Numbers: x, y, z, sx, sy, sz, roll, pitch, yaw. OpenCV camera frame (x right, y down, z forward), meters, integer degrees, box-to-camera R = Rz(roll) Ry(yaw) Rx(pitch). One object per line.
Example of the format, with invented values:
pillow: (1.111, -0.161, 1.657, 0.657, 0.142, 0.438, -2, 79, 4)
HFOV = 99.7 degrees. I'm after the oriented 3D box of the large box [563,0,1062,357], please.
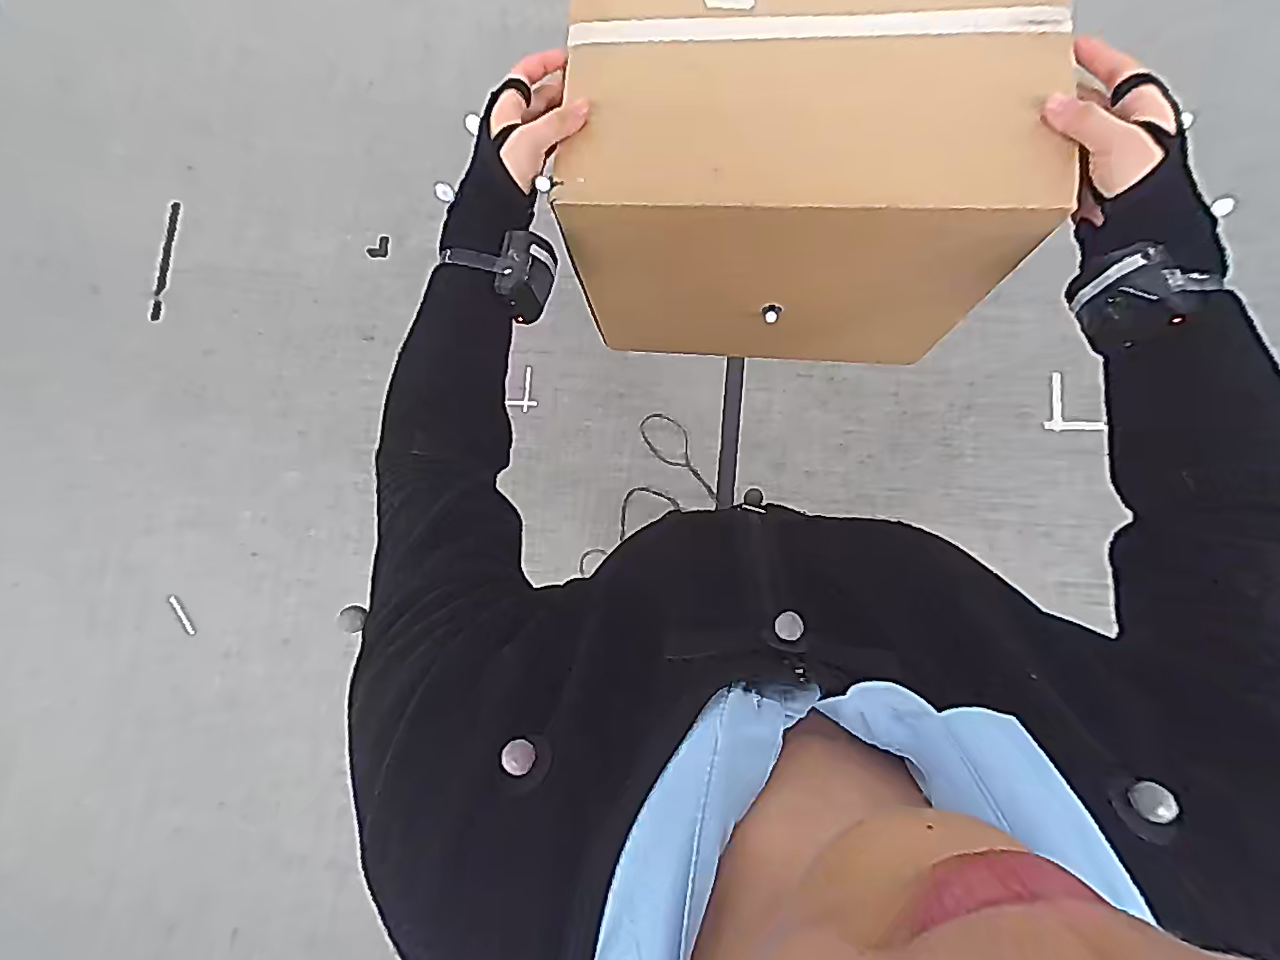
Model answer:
large box: (0.156, -0.340, 0.609, 0.408, 0.320, 0.320, 3, 79, 7)
